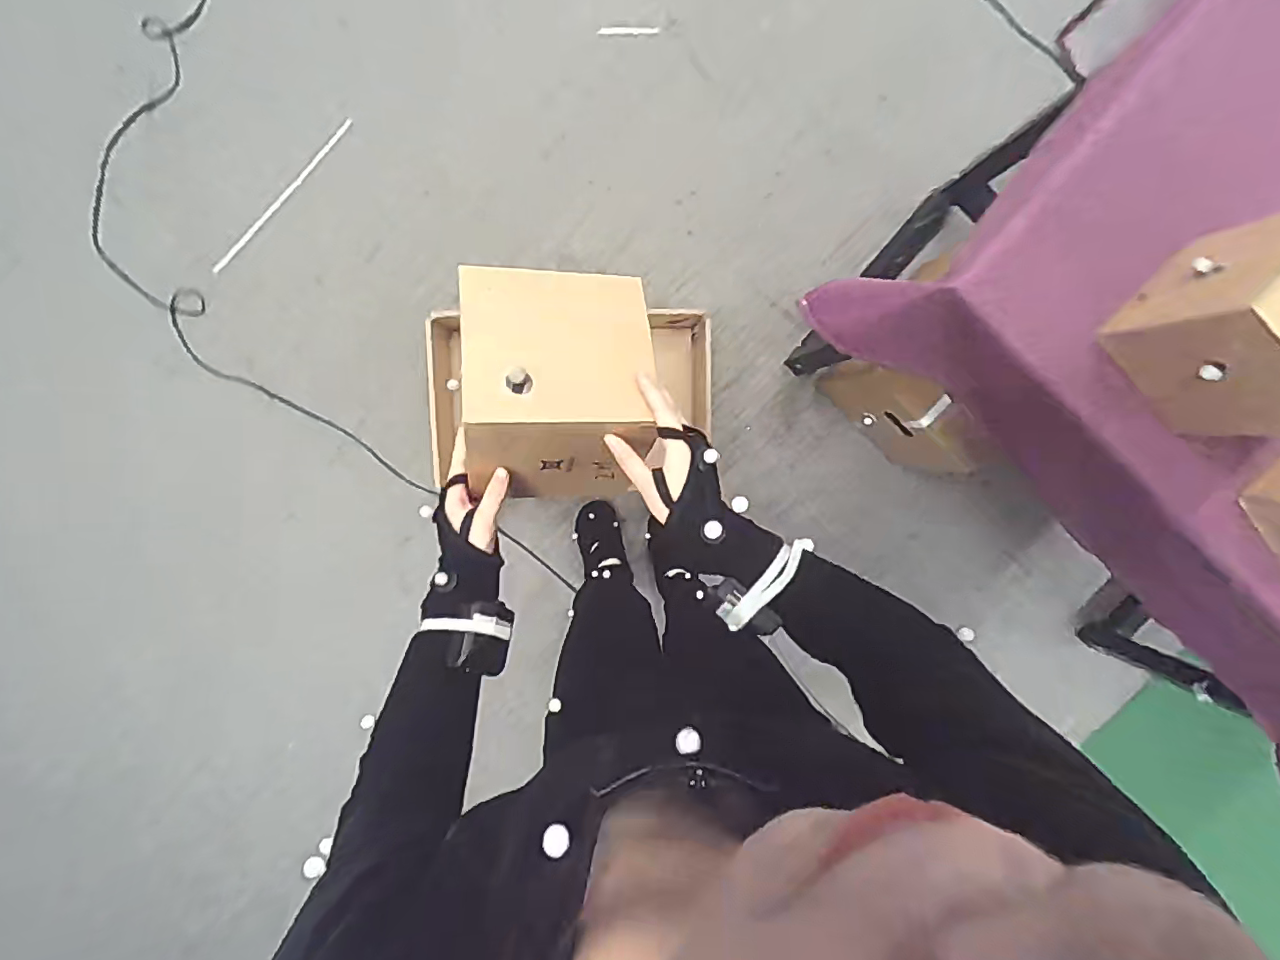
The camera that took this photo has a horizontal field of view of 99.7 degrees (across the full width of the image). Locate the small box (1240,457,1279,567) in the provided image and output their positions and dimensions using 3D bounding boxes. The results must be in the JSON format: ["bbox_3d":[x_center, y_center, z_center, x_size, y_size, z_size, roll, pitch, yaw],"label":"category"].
[{"bbox_3d":[0.898,0.032,0.636,0.179,0.176,0.168,-40,96,2],"label":"small box"}]

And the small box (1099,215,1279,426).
[{"bbox_3d":[0.684,-0.171,0.603,0.179,0.176,0.168,45,92,-5],"label":"small box"}]

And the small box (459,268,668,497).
[{"bbox_3d":[-0.088,-0.091,0.548,0.179,0.168,0.176,-2,70,-16],"label":"small box"}]
